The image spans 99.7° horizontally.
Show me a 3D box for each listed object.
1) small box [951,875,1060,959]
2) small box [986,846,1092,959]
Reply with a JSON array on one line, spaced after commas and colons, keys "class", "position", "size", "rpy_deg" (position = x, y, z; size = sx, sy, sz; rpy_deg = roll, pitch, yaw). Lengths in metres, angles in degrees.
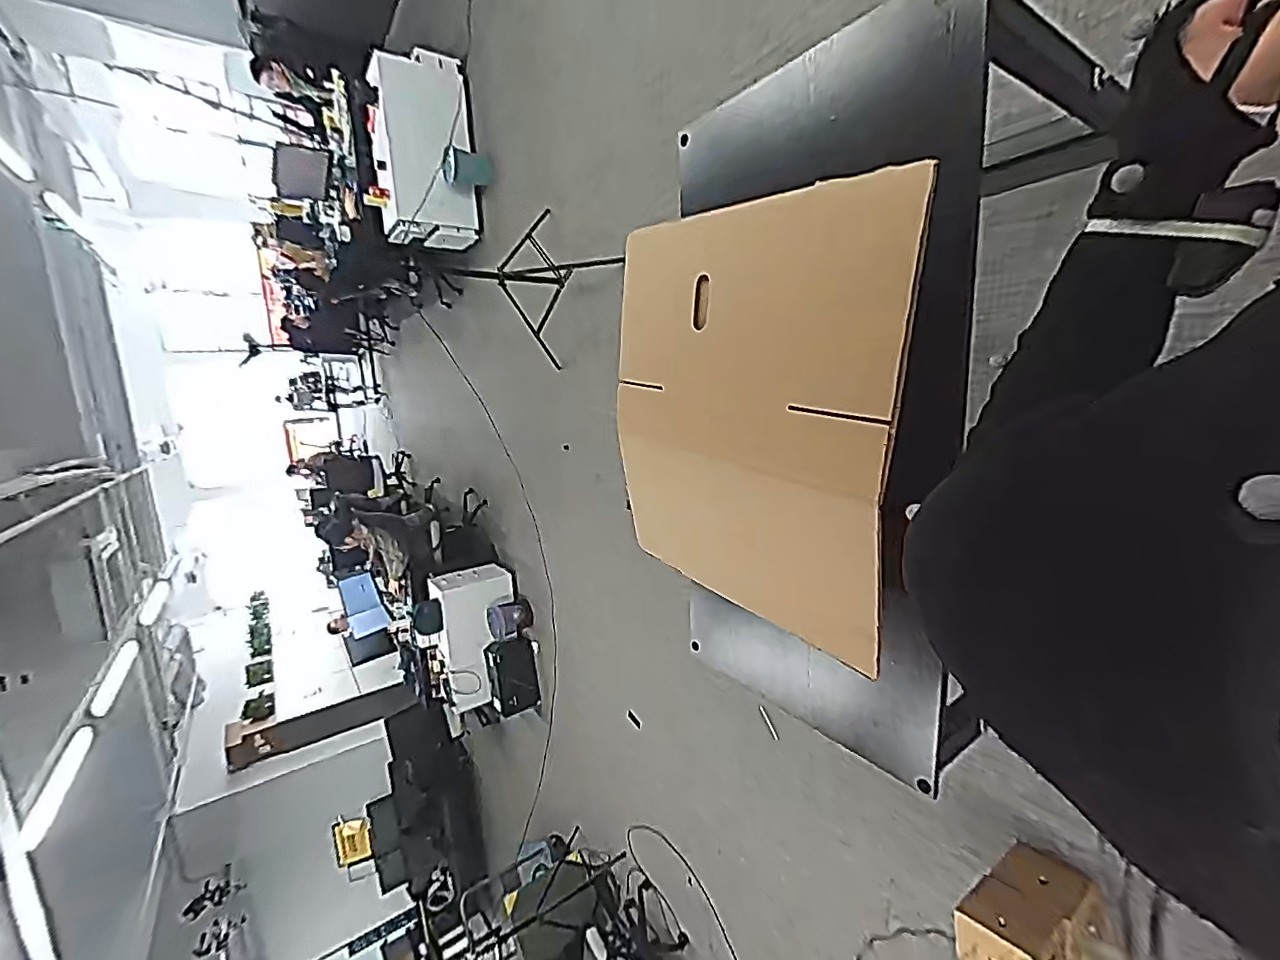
[{"class": "small box", "position": [0.879, 1.105, 1.295], "size": [0.179, 0.176, 0.168], "rpy_deg": [1, 98, 57]}, {"class": "small box", "position": [1.016, 1.082, 1.381], "size": [0.179, 0.176, 0.168], "rpy_deg": [6, 103, 54]}]
